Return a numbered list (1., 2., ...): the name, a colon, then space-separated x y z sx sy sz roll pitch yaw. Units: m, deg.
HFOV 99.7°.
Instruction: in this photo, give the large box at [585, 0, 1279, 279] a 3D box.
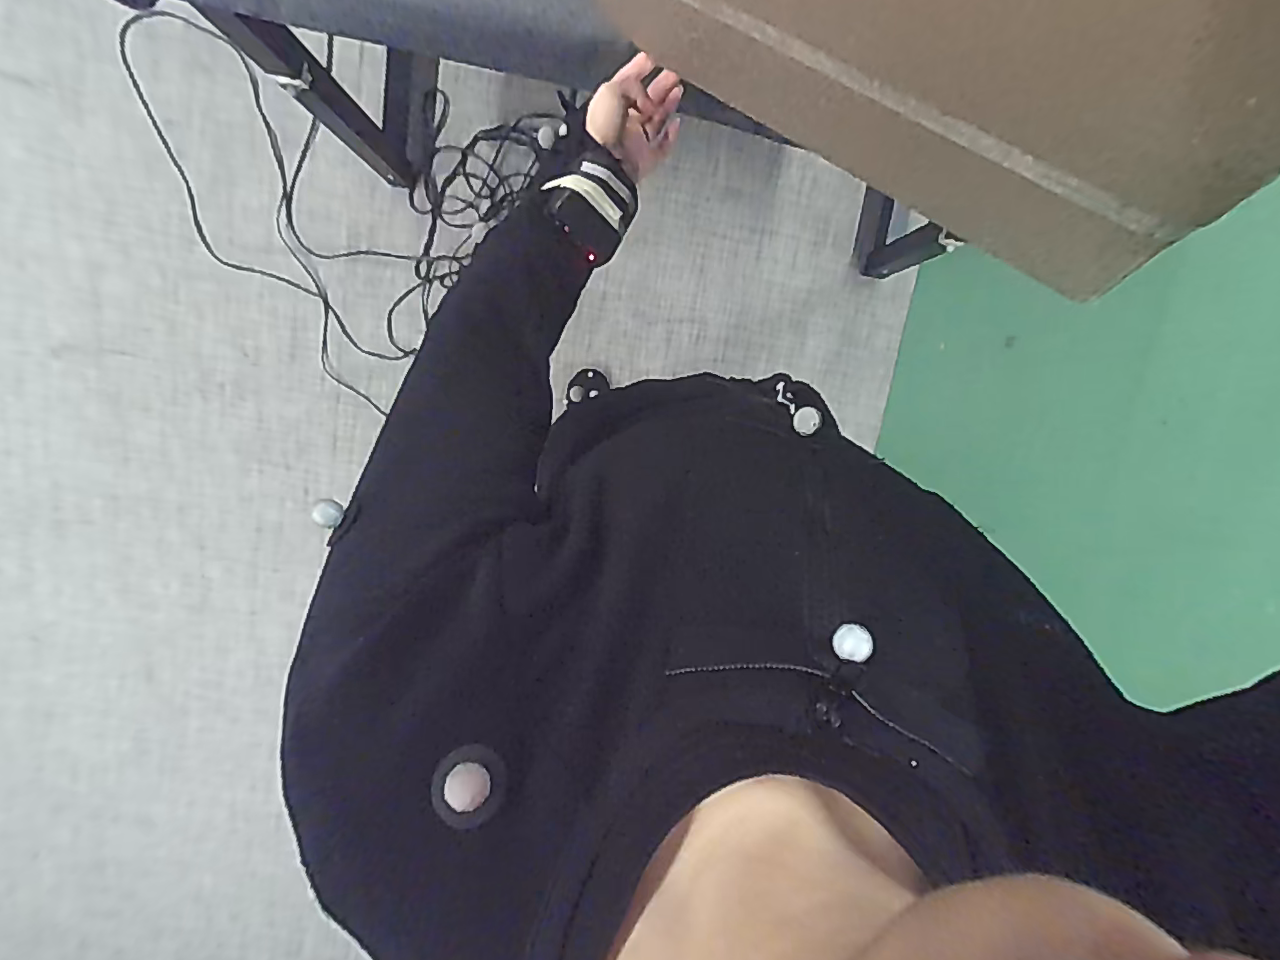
1. large box: 0.156 -0.345 0.228 0.408 0.320 0.320 40 111 18
